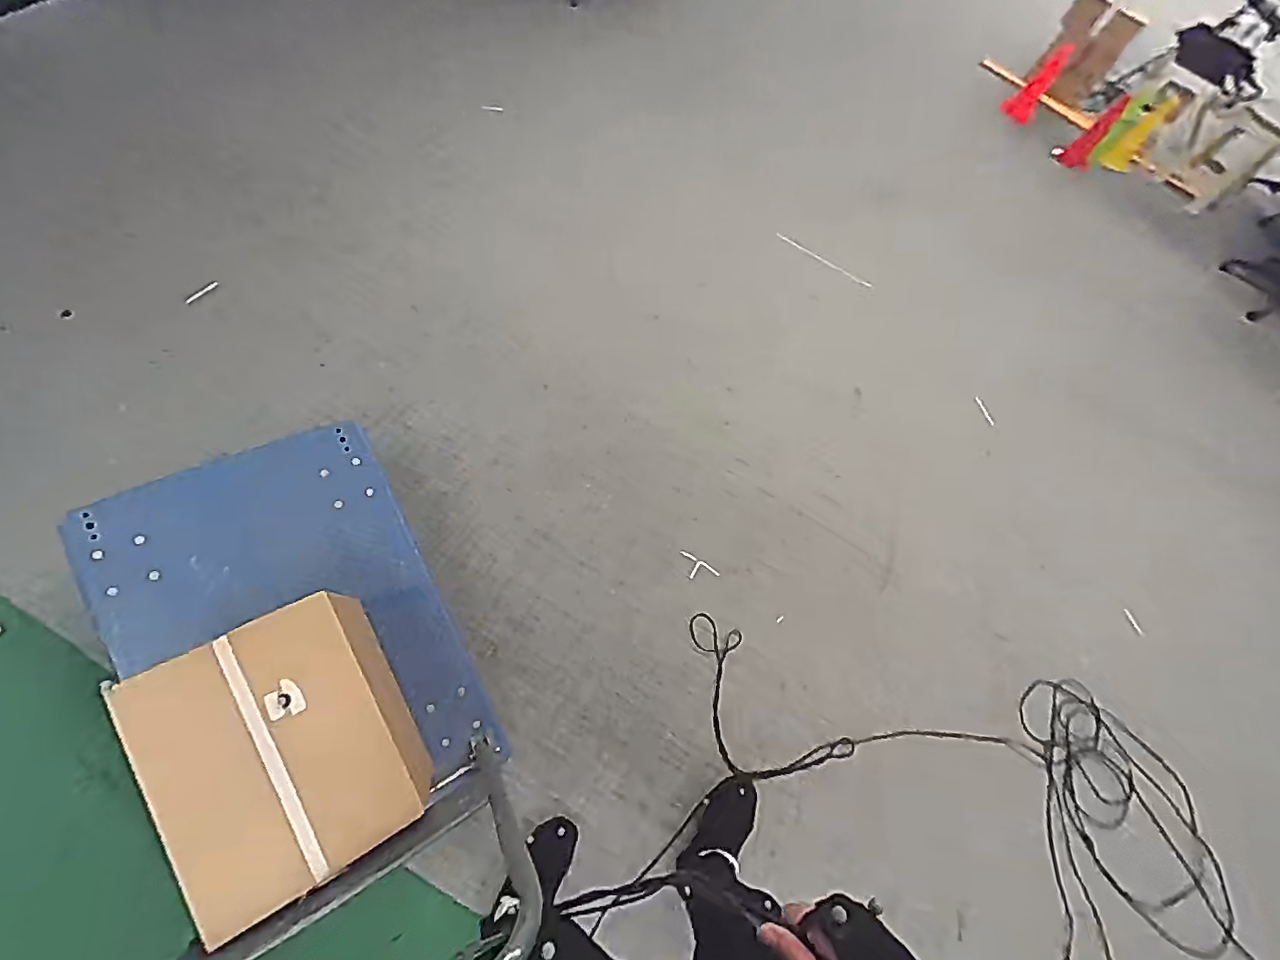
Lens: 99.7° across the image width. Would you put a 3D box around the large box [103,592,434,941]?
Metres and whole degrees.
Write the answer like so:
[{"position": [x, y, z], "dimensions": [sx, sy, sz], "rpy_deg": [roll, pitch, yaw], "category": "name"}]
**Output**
[{"position": [-0.611, 0.458, 0.970], "dimensions": [0.320, 0.320, 0.408], "rpy_deg": [-26, 84, -23], "category": "large box"}]
